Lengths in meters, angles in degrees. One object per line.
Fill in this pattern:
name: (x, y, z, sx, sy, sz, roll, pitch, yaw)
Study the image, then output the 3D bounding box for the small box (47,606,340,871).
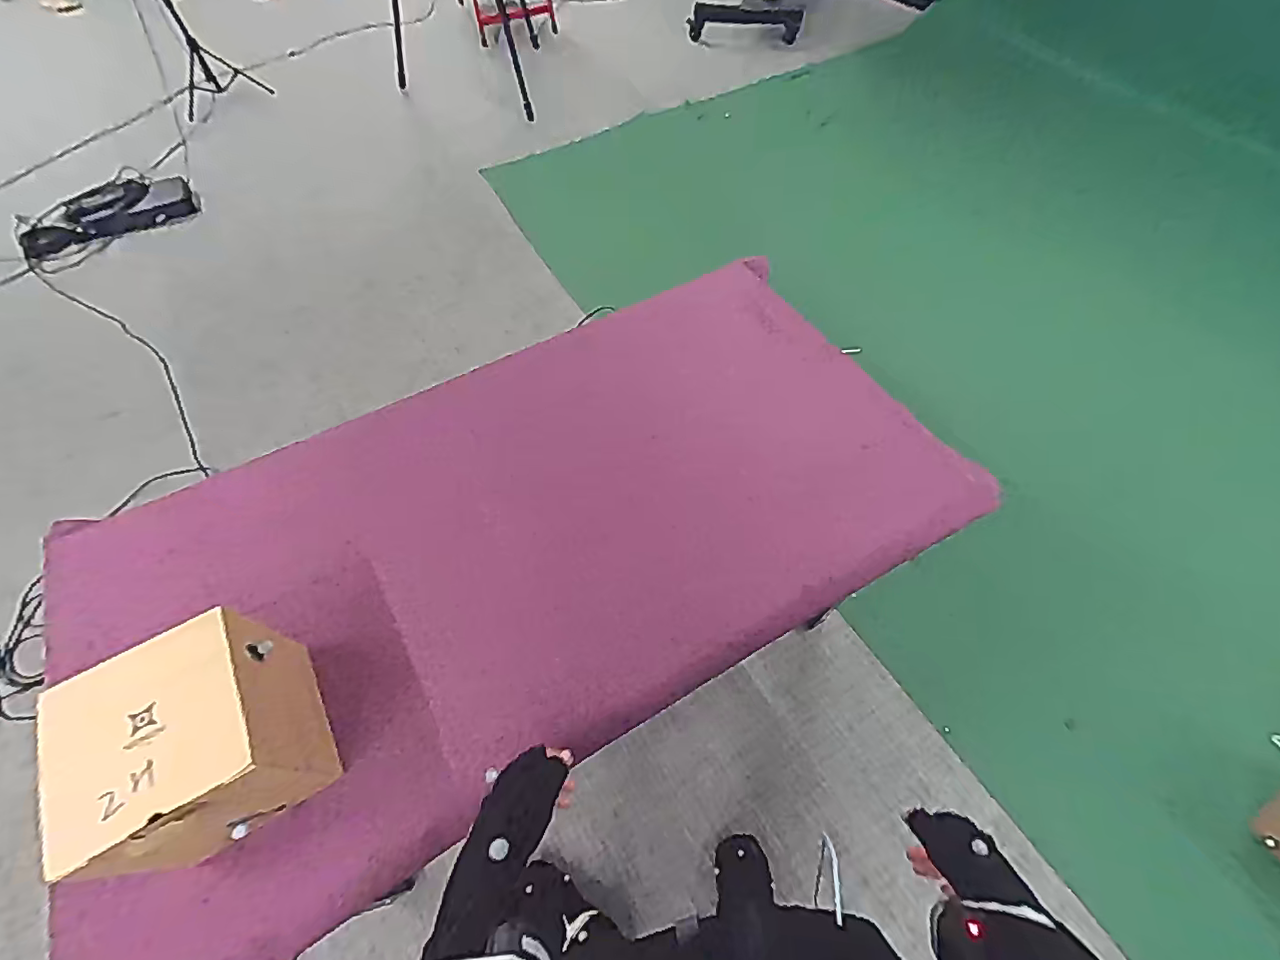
small box: (-0.455, 0.269, 0.572, 0.168, 0.176, 0.179, -28, 63, -15)

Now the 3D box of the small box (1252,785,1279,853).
small box: (1.444, 0.735, 1.108, 0.179, 0.176, 0.168, -27, 63, -15)
